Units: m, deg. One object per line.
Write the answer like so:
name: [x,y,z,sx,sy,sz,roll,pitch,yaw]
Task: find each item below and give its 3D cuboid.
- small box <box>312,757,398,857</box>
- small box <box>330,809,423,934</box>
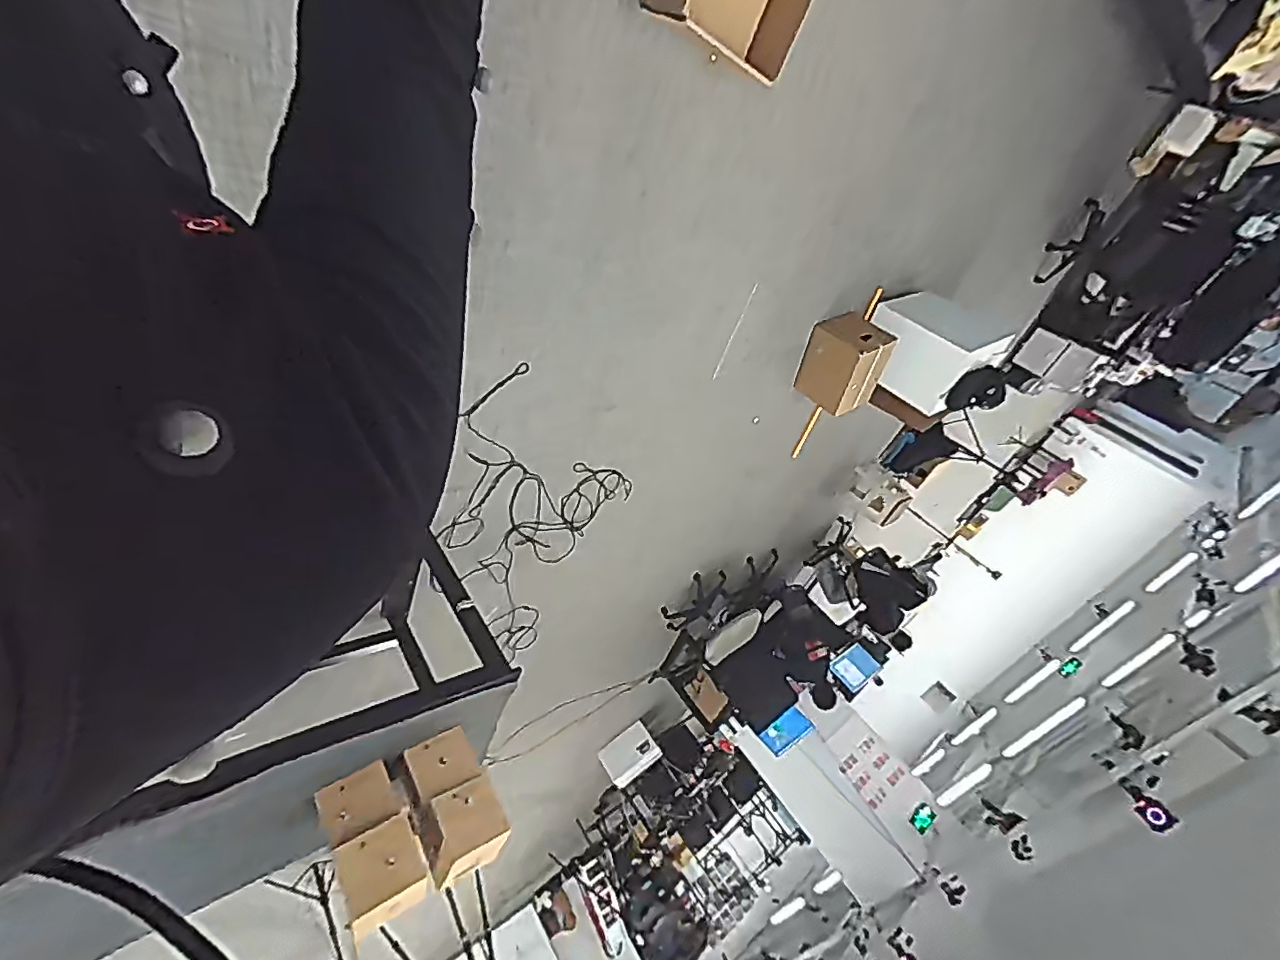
small box: [-0.748,0.867,1.424,0.168,0.176,0.179,-16,140,-36]
small box: [-0.646,0.947,1.324,0.168,0.176,0.179,-14,139,-37]
